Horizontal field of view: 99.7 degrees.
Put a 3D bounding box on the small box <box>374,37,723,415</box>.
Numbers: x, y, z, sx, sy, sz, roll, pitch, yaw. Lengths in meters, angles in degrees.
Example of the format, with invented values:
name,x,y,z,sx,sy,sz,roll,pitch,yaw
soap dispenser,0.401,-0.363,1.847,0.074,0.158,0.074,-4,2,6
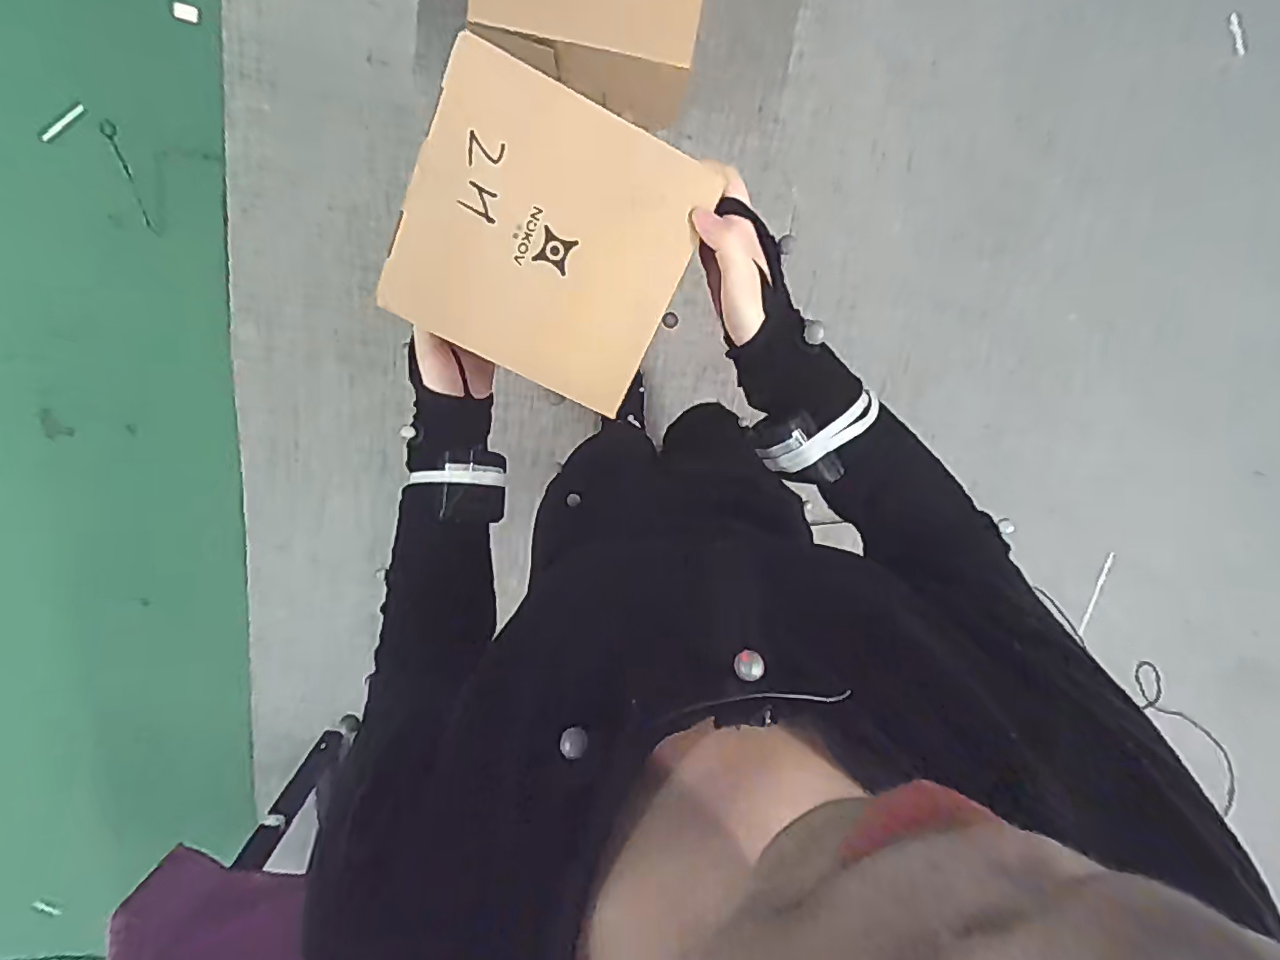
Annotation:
name,x,y,z,sx,sy,sz,roll,pitch,yaw
small box,-0.059,-0.174,0.418,0.179,0.176,0.168,27,105,-7
